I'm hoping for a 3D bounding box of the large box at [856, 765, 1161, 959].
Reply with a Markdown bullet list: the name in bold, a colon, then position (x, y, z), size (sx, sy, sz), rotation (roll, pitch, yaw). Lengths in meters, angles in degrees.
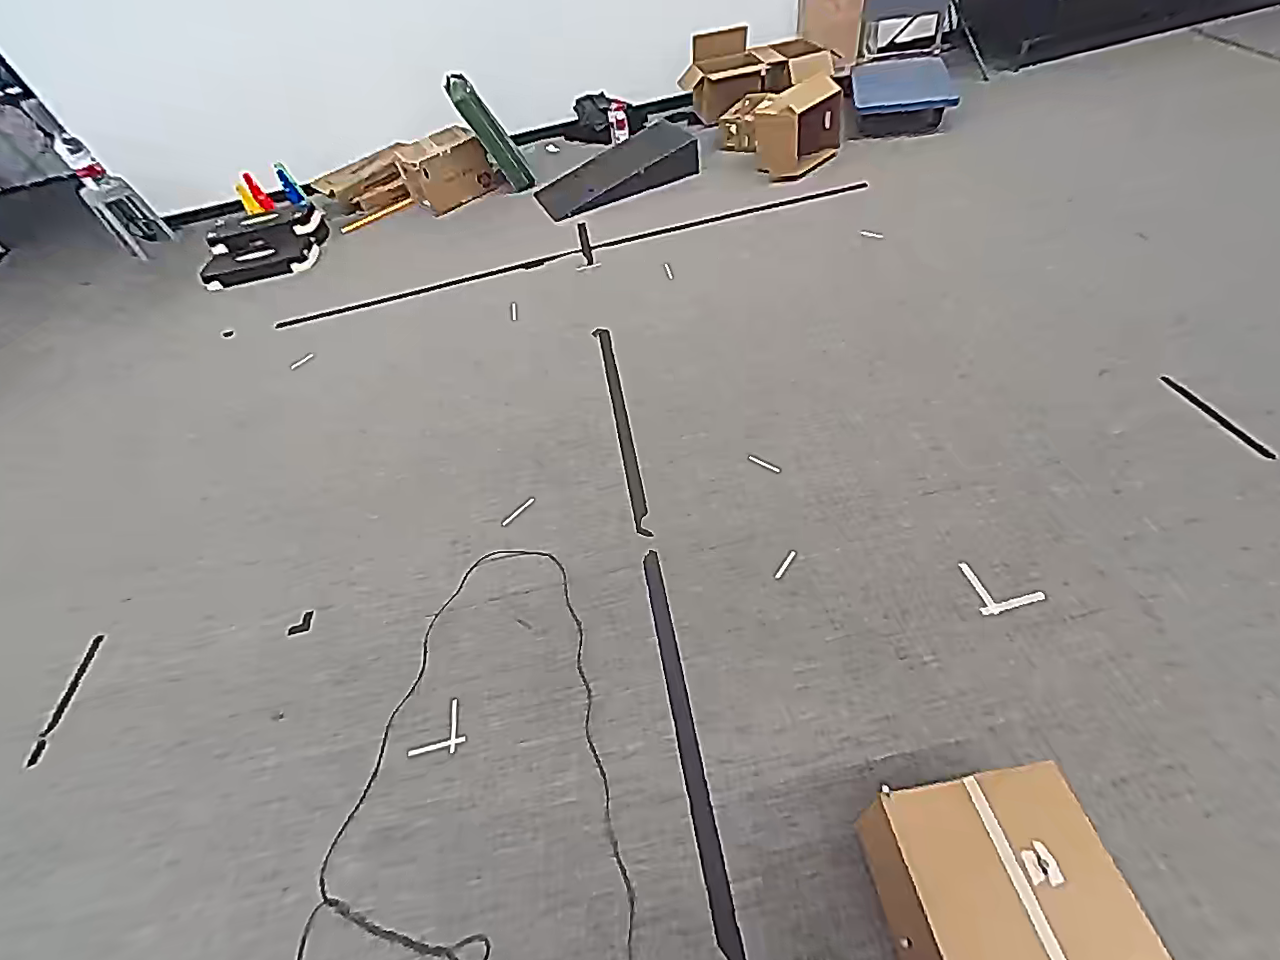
- **large box**: position (0.626, 0.783, 0.948), size (0.320, 0.320, 0.408), rotation (-11, 48, 0)
